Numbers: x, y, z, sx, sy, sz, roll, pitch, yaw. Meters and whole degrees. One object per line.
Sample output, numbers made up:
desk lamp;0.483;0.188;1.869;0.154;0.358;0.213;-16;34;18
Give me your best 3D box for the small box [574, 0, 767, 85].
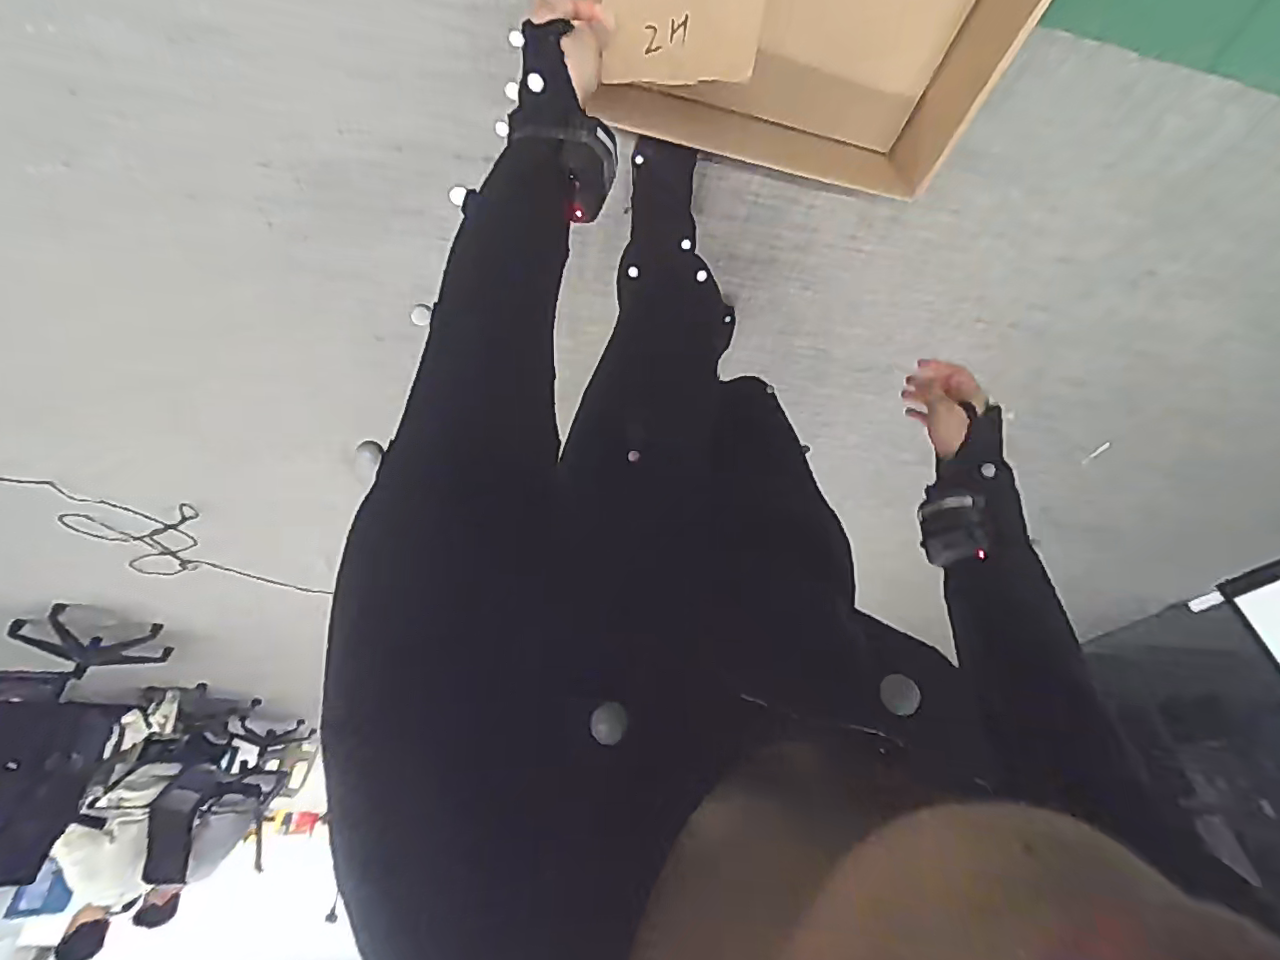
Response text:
small box;0.025;-0.525;0.542;0.168;0.176;0.179;-8;140;-12
